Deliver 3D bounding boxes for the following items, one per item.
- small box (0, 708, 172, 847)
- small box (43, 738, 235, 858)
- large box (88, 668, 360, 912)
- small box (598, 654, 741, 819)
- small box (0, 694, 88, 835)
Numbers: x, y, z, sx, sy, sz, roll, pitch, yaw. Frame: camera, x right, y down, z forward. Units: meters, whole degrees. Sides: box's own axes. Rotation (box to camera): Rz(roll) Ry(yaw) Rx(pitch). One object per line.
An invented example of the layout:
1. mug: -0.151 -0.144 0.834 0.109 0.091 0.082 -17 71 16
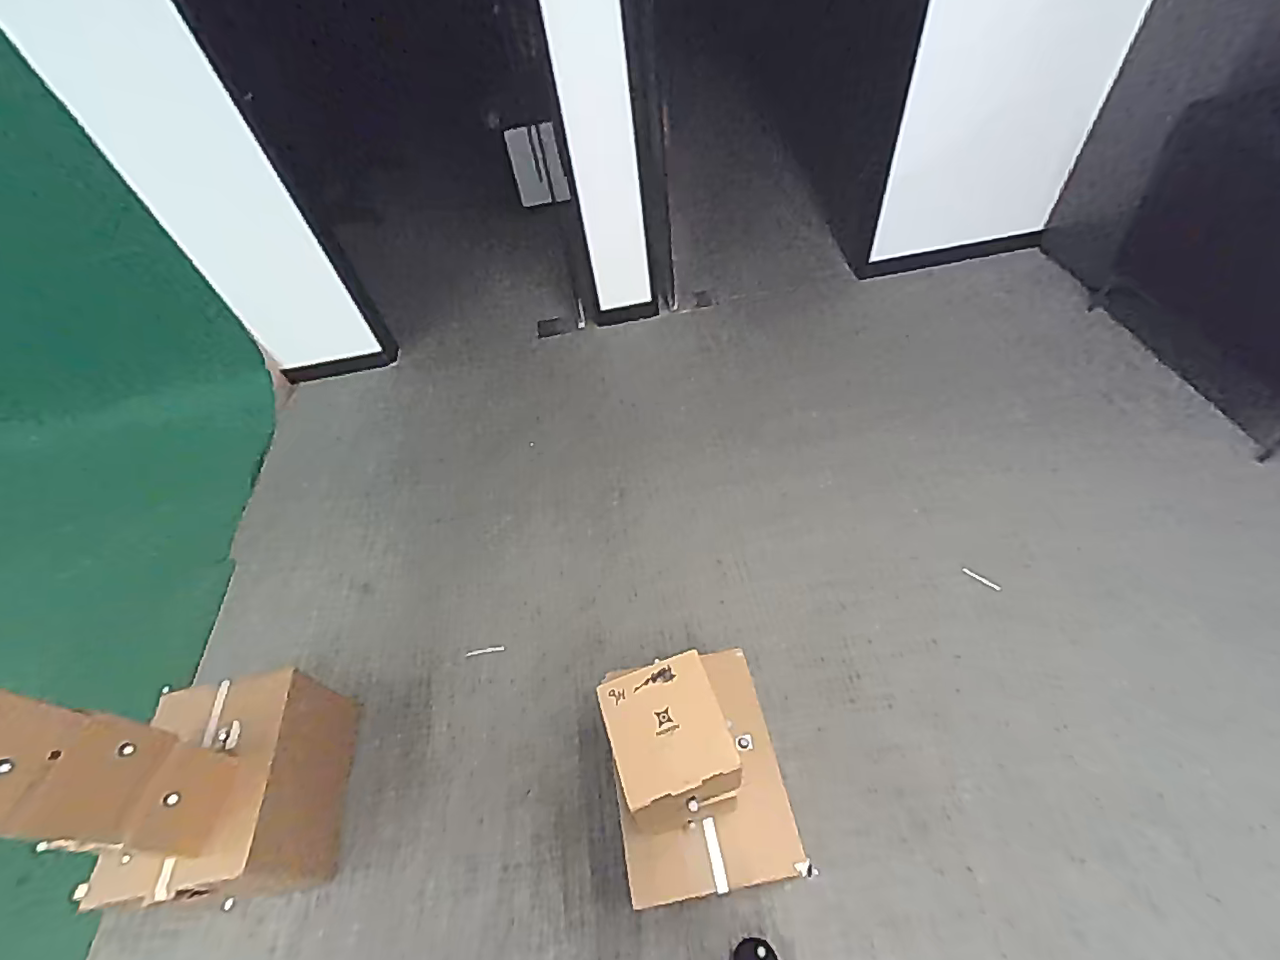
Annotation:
1. small box: -0.949 0.495 0.903 0.168 0.176 0.179 -1 53 9
2. small box: -0.924 0.601 1.024 0.168 0.176 0.179 -3 52 6
3. large box: -0.898 0.711 1.245 0.320 0.320 0.408 -11 50 -1
4. small box: 0.048 0.401 0.834 0.168 0.176 0.179 -19 53 -5
5. small box: -0.977 0.399 0.772 0.179 0.176 0.168 0 52 9
